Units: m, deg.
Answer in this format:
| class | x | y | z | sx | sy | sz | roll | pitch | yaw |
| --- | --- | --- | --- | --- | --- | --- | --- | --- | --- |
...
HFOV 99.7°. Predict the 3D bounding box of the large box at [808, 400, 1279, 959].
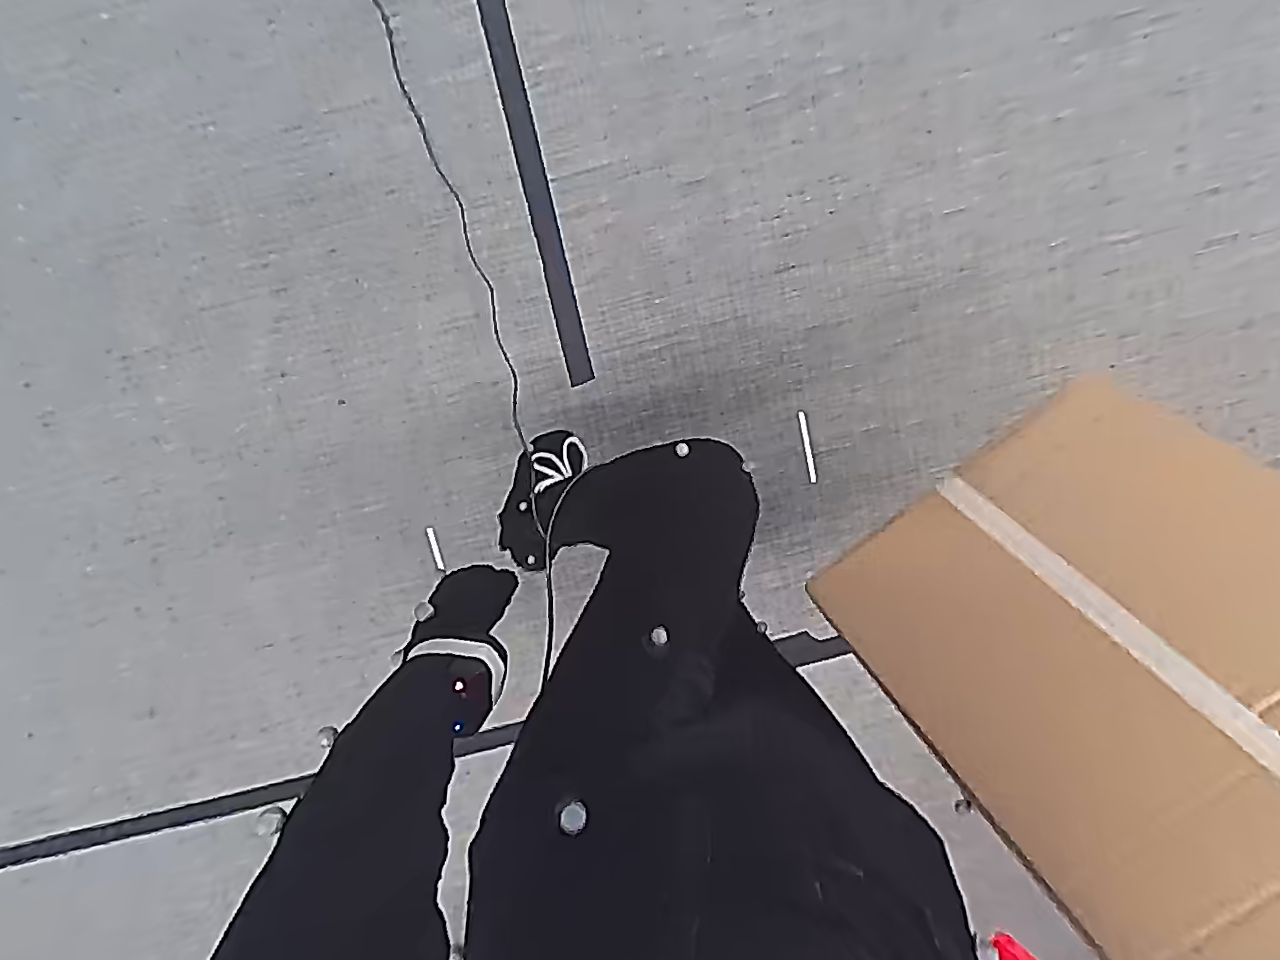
| class | x | y | z | sx | sy | sz | roll | pitch | yaw |
| --- | --- | --- | --- | --- | --- | --- | --- | --- | --- |
| large box | 0.426 | 0.209 | 0.494 | 0.320 | 0.408 | 0.320 | -39 | 142 | 6 |
